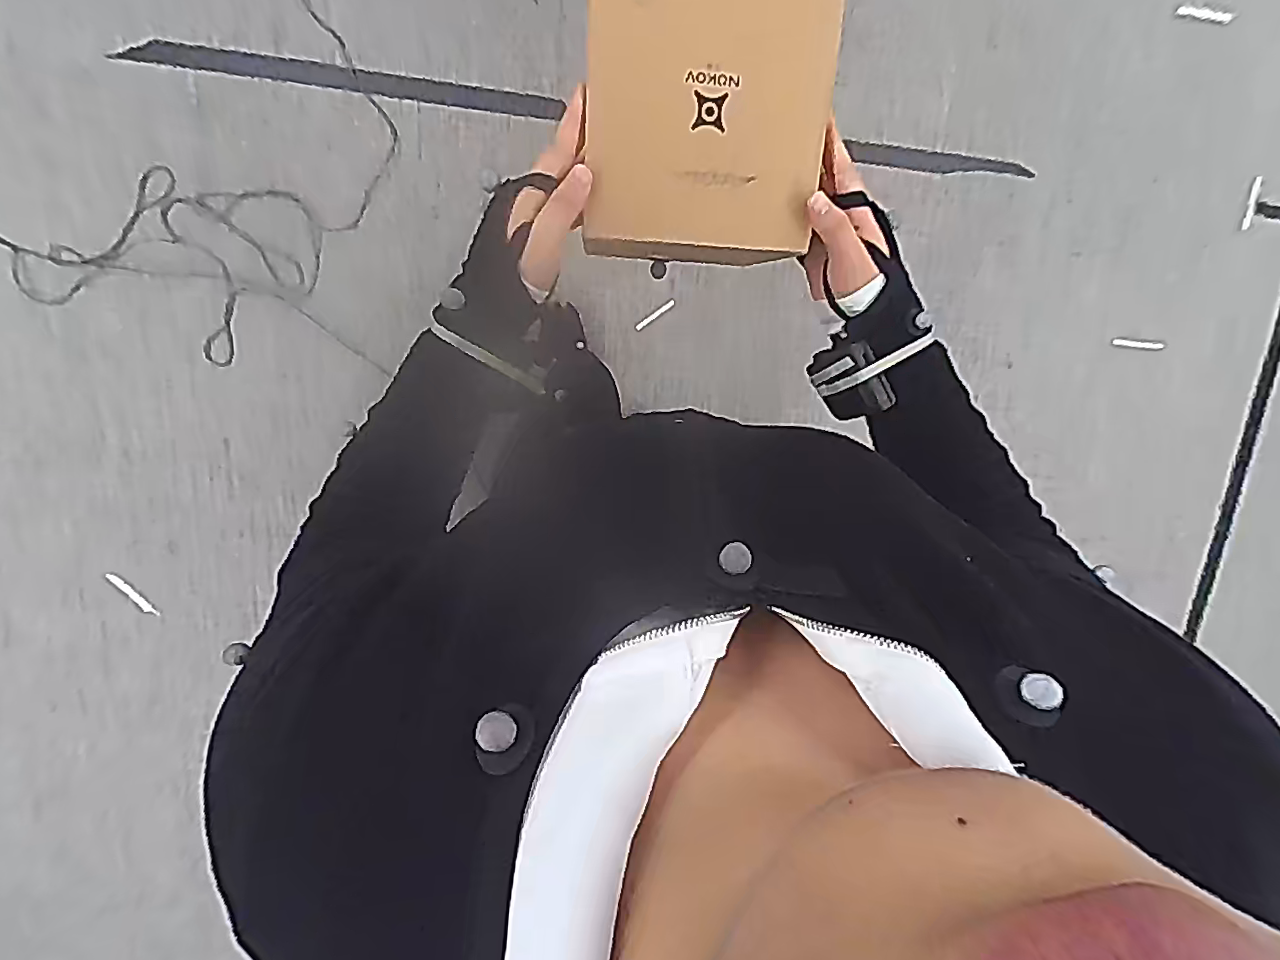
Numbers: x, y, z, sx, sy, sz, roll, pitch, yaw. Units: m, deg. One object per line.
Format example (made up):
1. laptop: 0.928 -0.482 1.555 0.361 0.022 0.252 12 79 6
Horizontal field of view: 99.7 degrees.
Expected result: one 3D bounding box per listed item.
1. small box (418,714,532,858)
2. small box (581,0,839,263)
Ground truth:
1. small box: -0.295 0.552 0.996 0.168 0.176 0.179 1 99 -2
2. small box: 0.038 -0.282 0.438 0.168 0.176 0.179 2 108 -6
